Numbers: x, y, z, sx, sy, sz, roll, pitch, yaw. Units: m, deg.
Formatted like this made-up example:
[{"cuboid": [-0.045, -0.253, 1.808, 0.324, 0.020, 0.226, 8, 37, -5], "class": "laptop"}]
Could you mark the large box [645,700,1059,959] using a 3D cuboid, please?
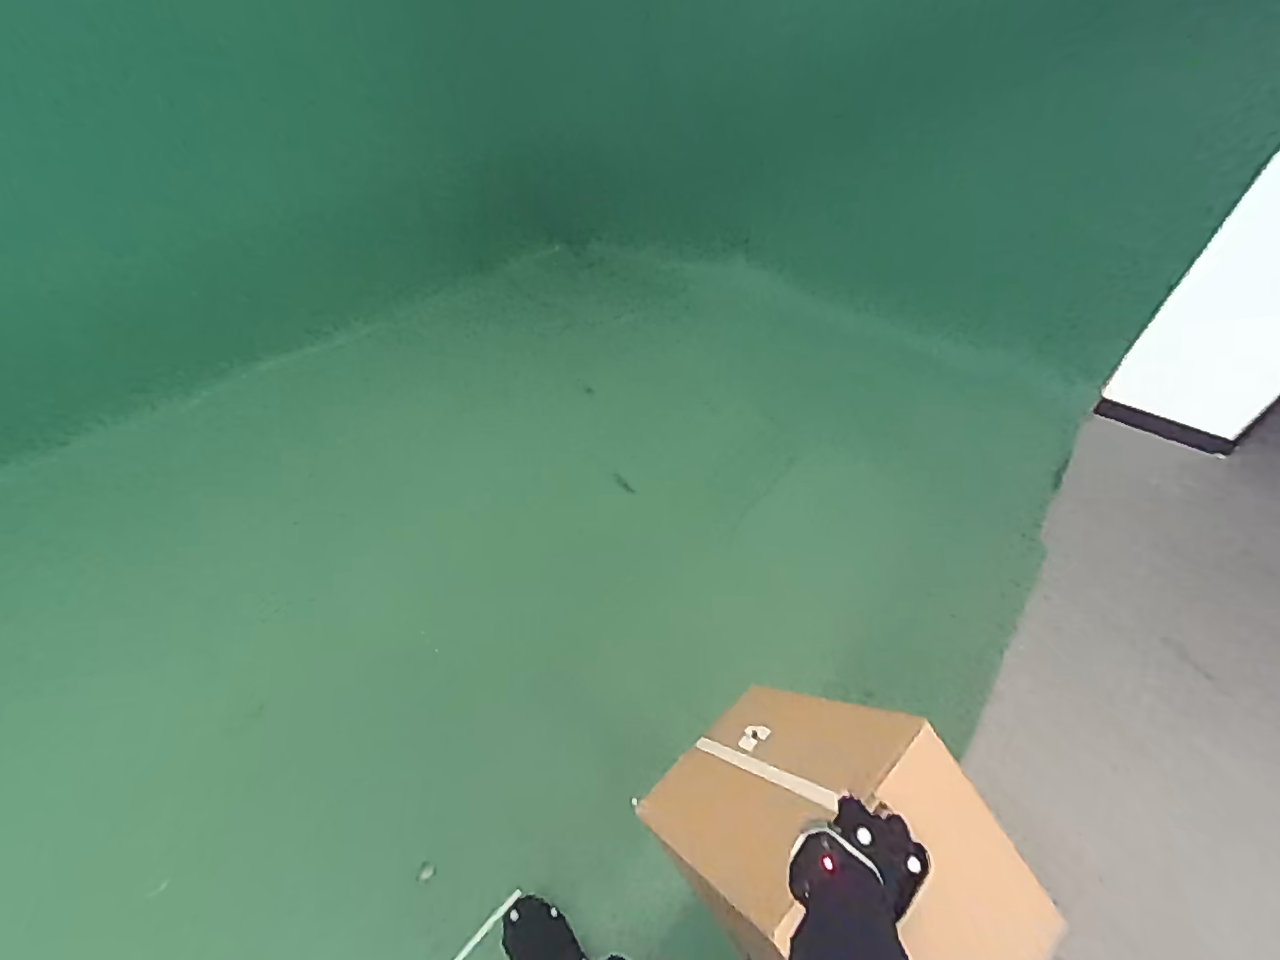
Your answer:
[{"cuboid": [0.274, 0.569, 0.796, 0.320, 0.408, 0.320, -34, 88, -25], "class": "large box"}]
